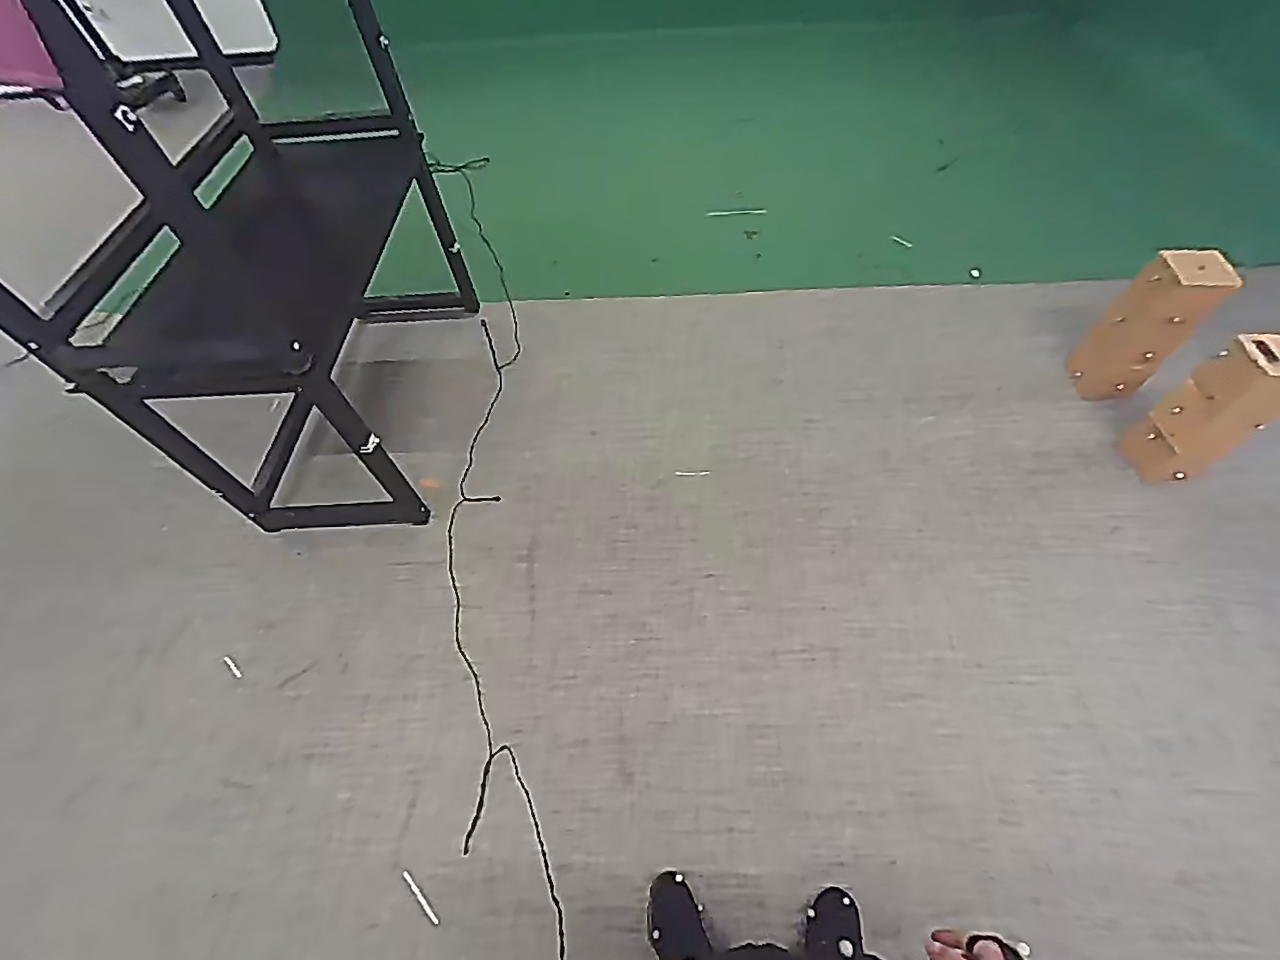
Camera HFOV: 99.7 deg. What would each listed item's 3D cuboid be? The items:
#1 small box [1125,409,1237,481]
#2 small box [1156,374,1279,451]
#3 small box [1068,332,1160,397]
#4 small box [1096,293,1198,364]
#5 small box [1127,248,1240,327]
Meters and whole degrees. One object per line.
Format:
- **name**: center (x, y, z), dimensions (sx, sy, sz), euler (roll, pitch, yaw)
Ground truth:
- **small box**: center (1.767, -0.117, 1.782), dimensions (0.168, 0.176, 0.179), euler (0, 57, 4)
- **small box**: center (1.741, -0.202, 1.646), dimensions (0.179, 0.176, 0.168), euler (-3, 56, 1)
- **small box**: center (1.739, -0.424, 1.994), dimensions (0.168, 0.176, 0.179), euler (1, 56, 5)
- **small box**: center (1.730, -0.522, 1.862), dimensions (0.168, 0.176, 0.179), euler (2, 56, 6)
- **small box**: center (1.722, -0.615, 1.729), dimensions (0.168, 0.176, 0.179), euler (3, 57, 7)
